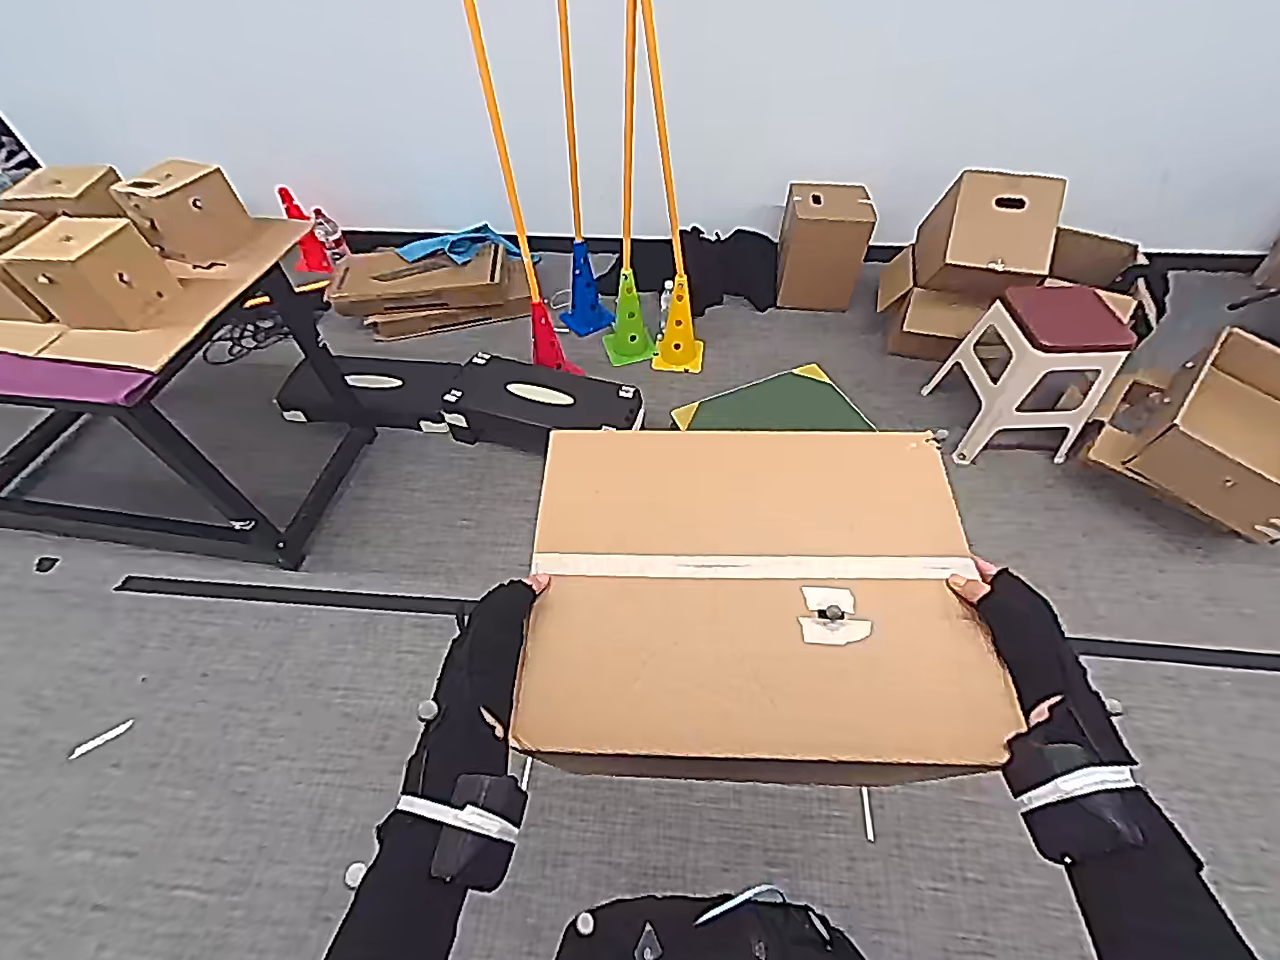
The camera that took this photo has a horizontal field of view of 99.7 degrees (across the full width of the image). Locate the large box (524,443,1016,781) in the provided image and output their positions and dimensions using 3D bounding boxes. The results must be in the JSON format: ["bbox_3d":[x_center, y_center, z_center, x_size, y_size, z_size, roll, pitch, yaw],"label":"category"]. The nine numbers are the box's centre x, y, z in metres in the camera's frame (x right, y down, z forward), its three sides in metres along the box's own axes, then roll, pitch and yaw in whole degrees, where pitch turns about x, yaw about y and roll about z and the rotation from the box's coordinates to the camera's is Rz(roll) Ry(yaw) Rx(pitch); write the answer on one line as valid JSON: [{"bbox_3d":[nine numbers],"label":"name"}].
[{"bbox_3d":[0.108,0.169,0.637,0.408,0.320,0.320,1,59,3],"label":"large box"}]
